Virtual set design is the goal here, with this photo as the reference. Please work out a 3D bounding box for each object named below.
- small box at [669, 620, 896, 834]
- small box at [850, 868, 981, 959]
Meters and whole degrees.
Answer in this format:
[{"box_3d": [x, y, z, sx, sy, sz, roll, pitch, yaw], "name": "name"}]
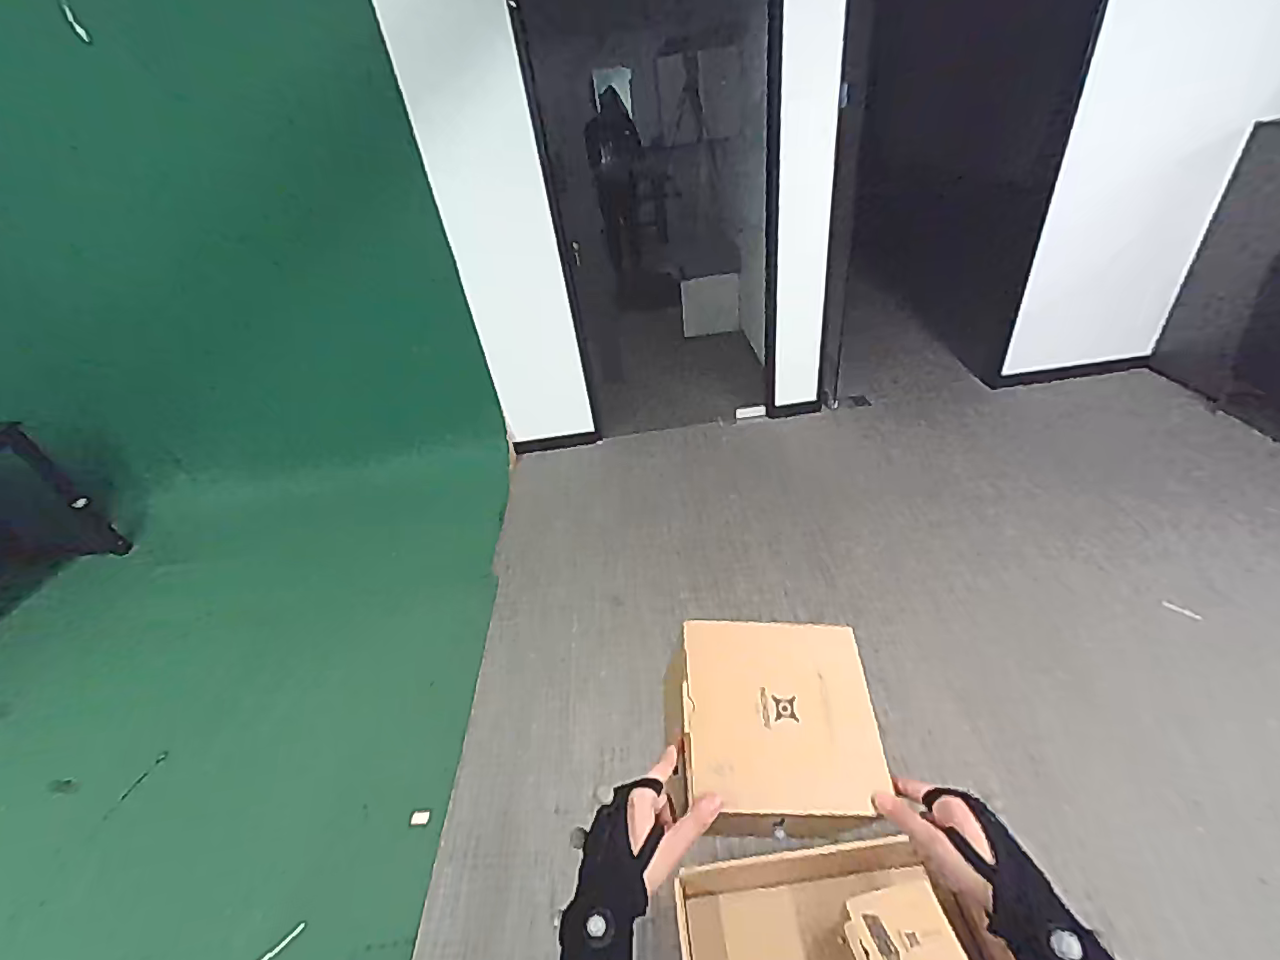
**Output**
[{"box_3d": [0.122, 0.256, 0.552, 0.179, 0.176, 0.168, 2, 51, -3], "name": "small box"}, {"box_3d": [0.529, 0.907, 1.062, 0.179, 0.176, 0.168, -13, 37, -4], "name": "small box"}]
